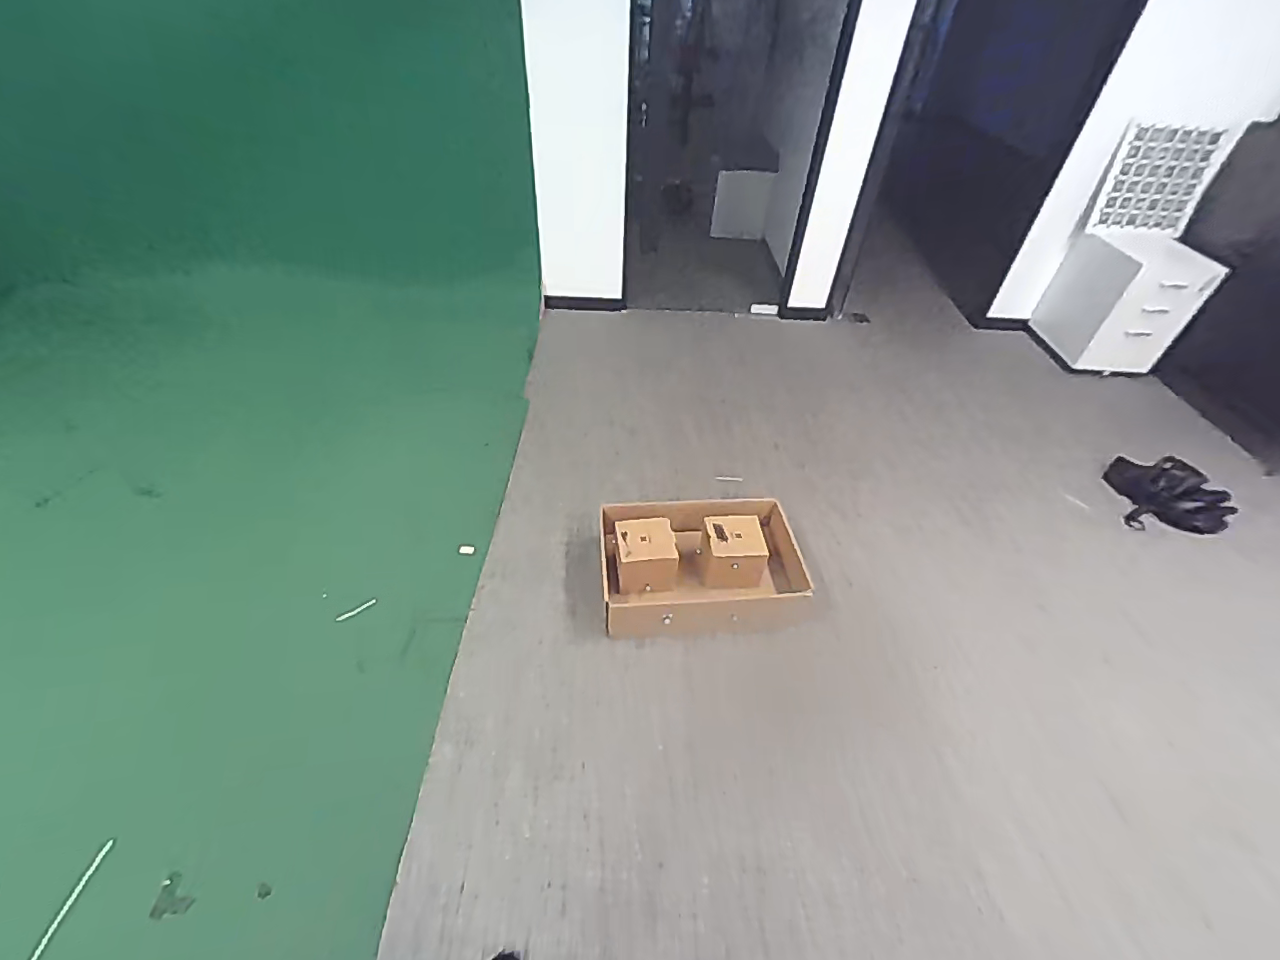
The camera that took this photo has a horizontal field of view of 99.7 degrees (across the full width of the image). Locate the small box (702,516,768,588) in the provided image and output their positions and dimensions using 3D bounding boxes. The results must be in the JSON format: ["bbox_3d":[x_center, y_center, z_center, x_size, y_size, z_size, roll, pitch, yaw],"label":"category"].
[{"bbox_3d":[0.296,0.234,1.738,0.179,0.176,0.168,-1,43,-4],"label":"small box"}]

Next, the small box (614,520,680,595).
[{"bbox_3d":[0.017,0.245,1.708,0.179,0.176,0.168,-3,43,-9],"label":"small box"}]
